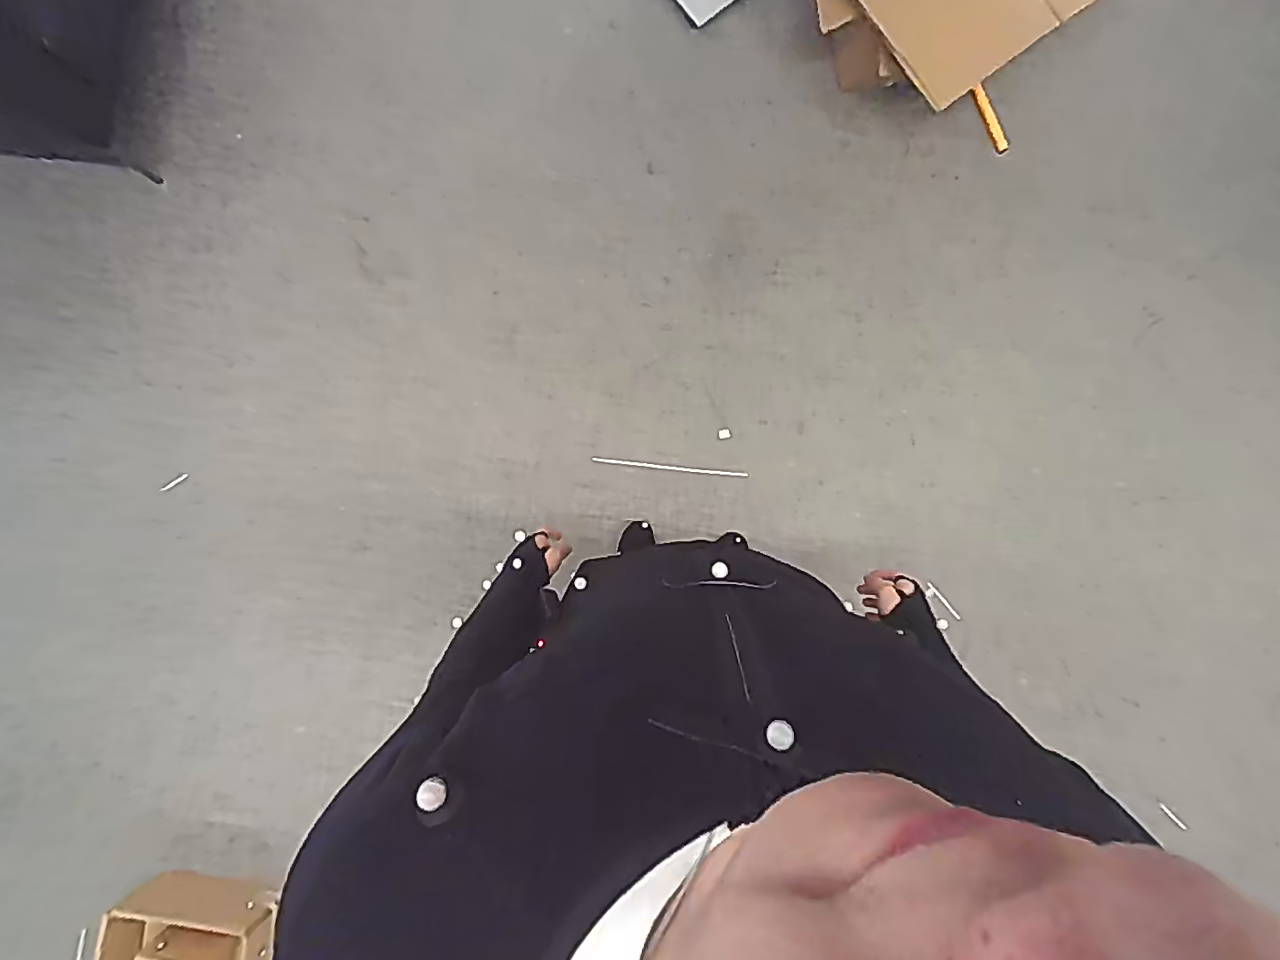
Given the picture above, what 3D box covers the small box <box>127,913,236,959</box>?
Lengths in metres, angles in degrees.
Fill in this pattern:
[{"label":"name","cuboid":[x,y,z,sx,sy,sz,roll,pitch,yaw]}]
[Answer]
[{"label":"small box","cuboid":[-1.247,1.323,1.461,0.179,0.176,0.168,11,86,2]}]
